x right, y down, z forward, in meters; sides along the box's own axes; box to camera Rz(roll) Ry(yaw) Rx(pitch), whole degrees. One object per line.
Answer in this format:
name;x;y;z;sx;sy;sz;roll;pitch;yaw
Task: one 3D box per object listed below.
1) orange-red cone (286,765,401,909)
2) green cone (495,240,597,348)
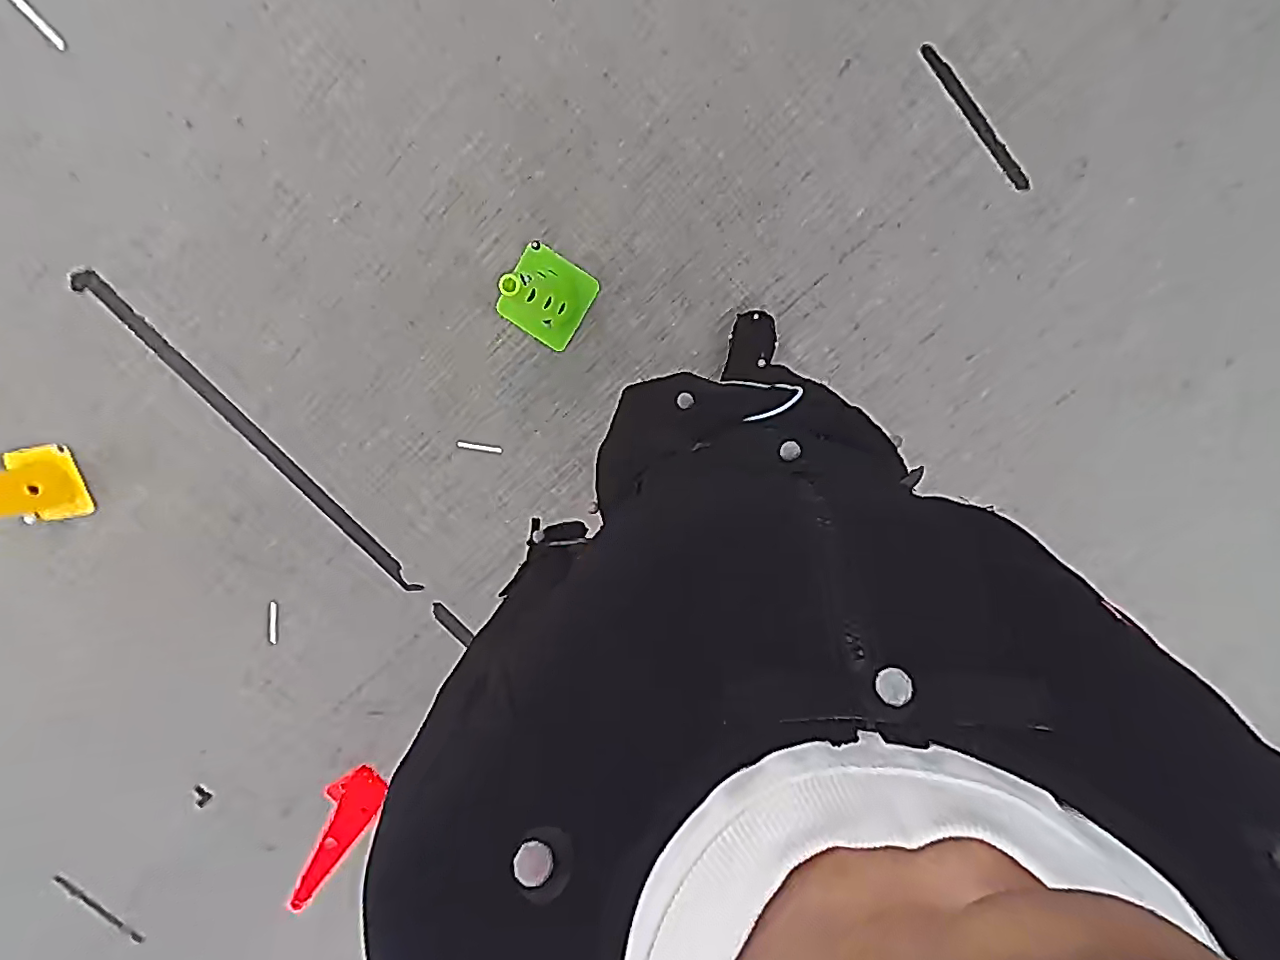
orange-red cone;-0.914;1.079;1.601;0.198;0.360;0.199;-33;100;10
green cone;-0.236;-0.405;1.164;0.202;0.368;0.200;32;105;-7
